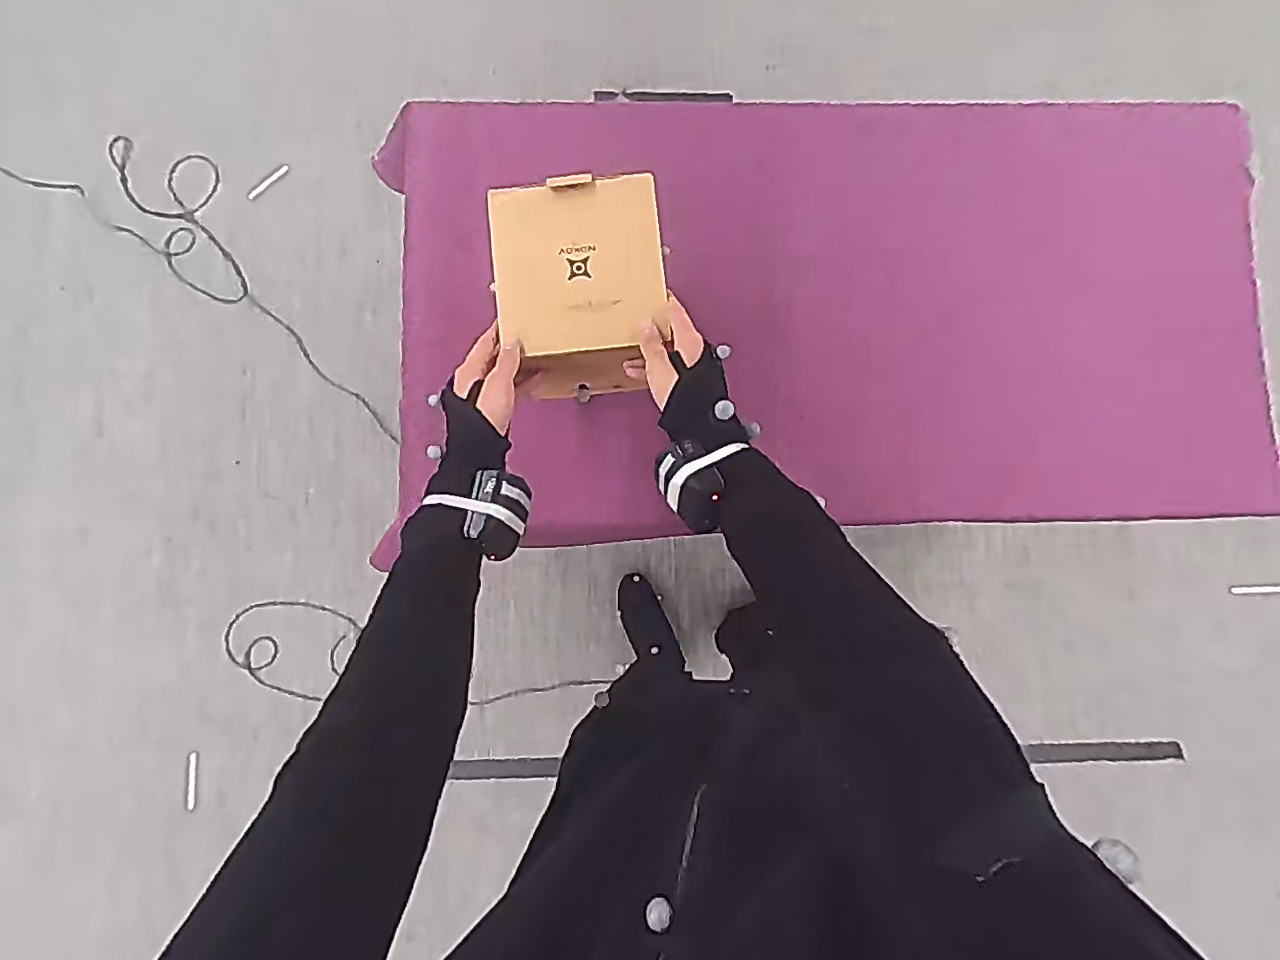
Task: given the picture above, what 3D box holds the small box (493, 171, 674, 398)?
[{"bbox_3d":[-0.056,-0.200,0.593,0.168,0.176,0.179,-5,85,0],"label":"small box"}]
